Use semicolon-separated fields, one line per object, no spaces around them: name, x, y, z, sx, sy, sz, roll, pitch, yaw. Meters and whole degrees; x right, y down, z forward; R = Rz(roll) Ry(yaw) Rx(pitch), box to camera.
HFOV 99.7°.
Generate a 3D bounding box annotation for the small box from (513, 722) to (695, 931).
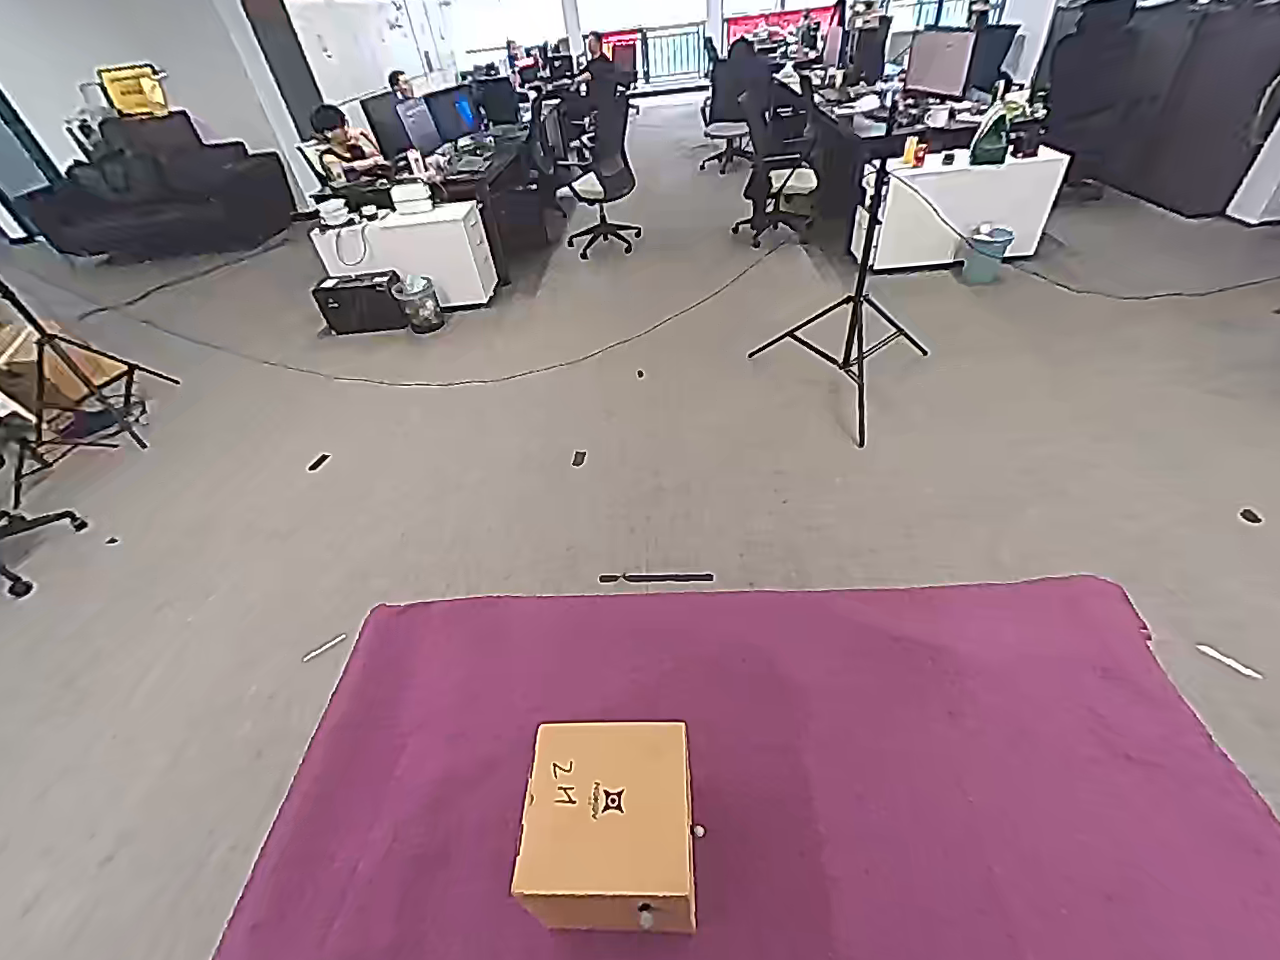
small box;-0.026;0.397;0.623;0.179;0.176;0.168;-3;41;5
